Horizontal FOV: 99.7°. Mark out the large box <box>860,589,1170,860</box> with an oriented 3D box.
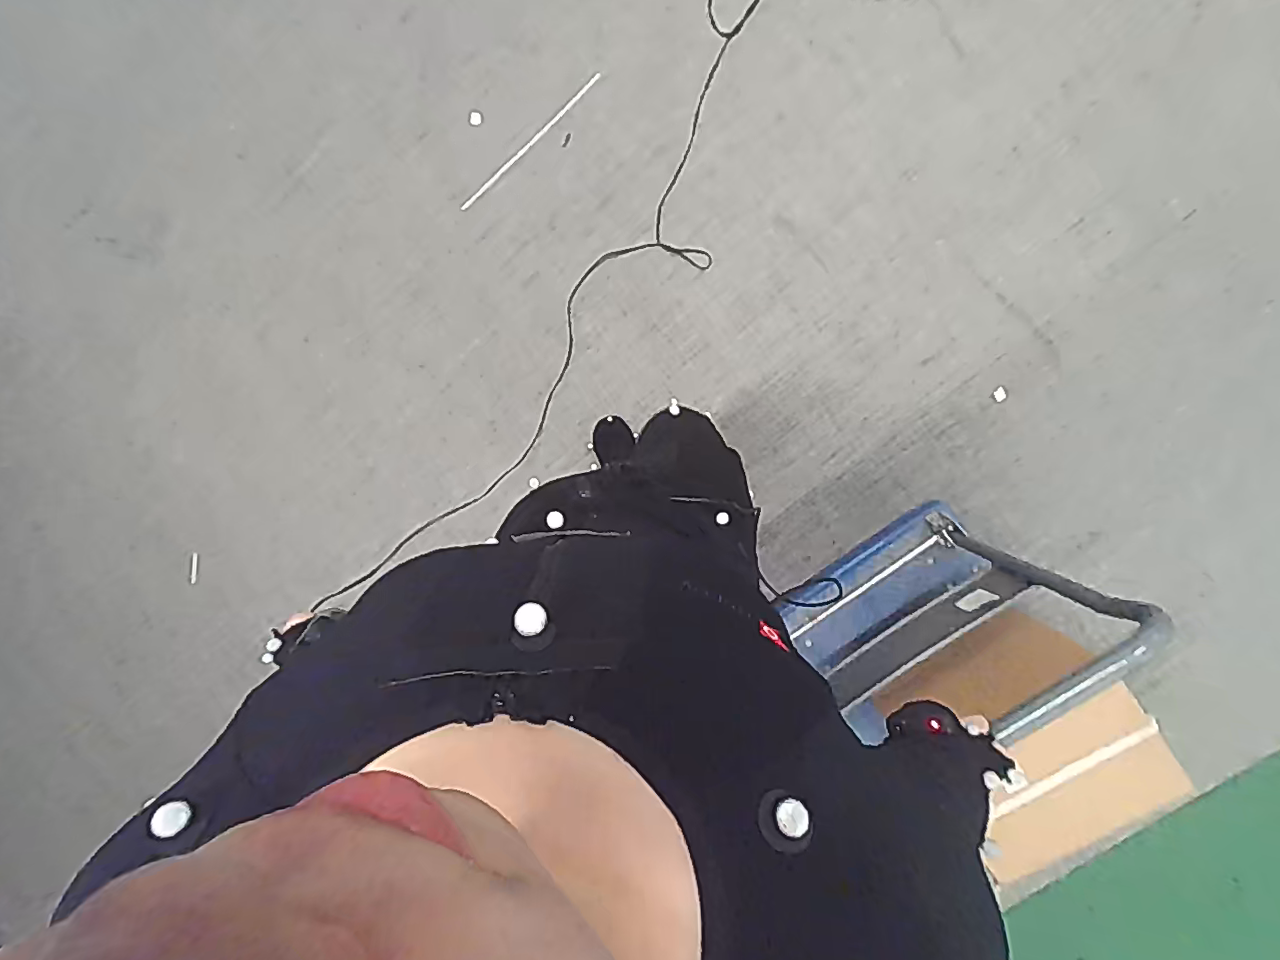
[{"bbox_3d":[0.784,0.512,1.197,0.408,0.320,0.320,-35,93,9],"label":"large box"}]
